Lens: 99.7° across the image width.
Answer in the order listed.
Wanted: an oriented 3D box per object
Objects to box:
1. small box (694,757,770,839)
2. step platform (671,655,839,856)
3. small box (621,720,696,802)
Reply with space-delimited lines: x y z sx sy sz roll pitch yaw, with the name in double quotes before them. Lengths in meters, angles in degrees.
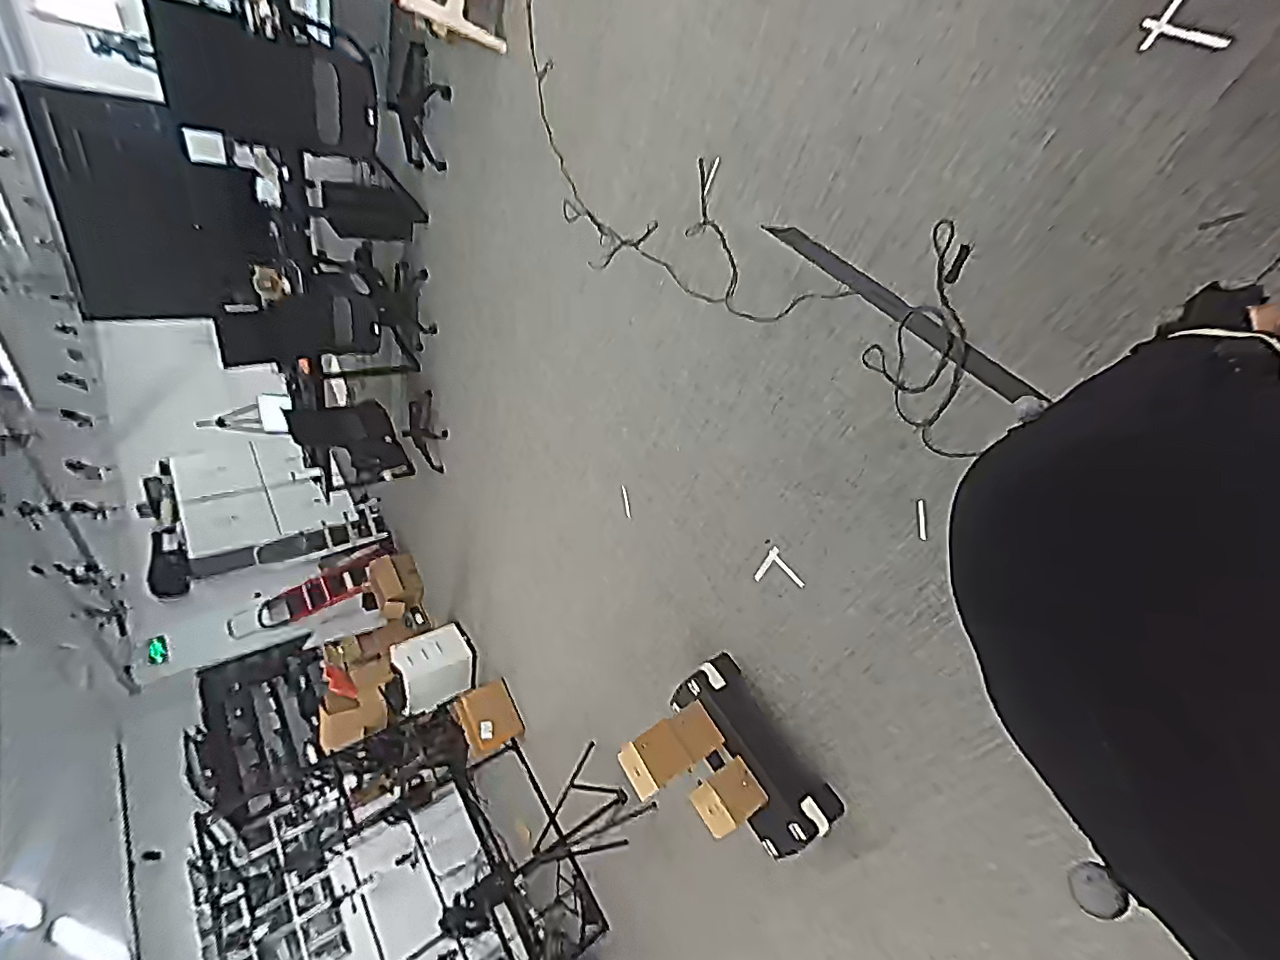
"small box" 0.324 1.113 1.897 0.168 0.176 0.179 51 137 27
"step platform" 0.405 1.030 2.051 0.684 0.204 0.286 49 137 28
"small box" 0.067 0.987 1.909 0.179 0.176 0.168 53 138 27
